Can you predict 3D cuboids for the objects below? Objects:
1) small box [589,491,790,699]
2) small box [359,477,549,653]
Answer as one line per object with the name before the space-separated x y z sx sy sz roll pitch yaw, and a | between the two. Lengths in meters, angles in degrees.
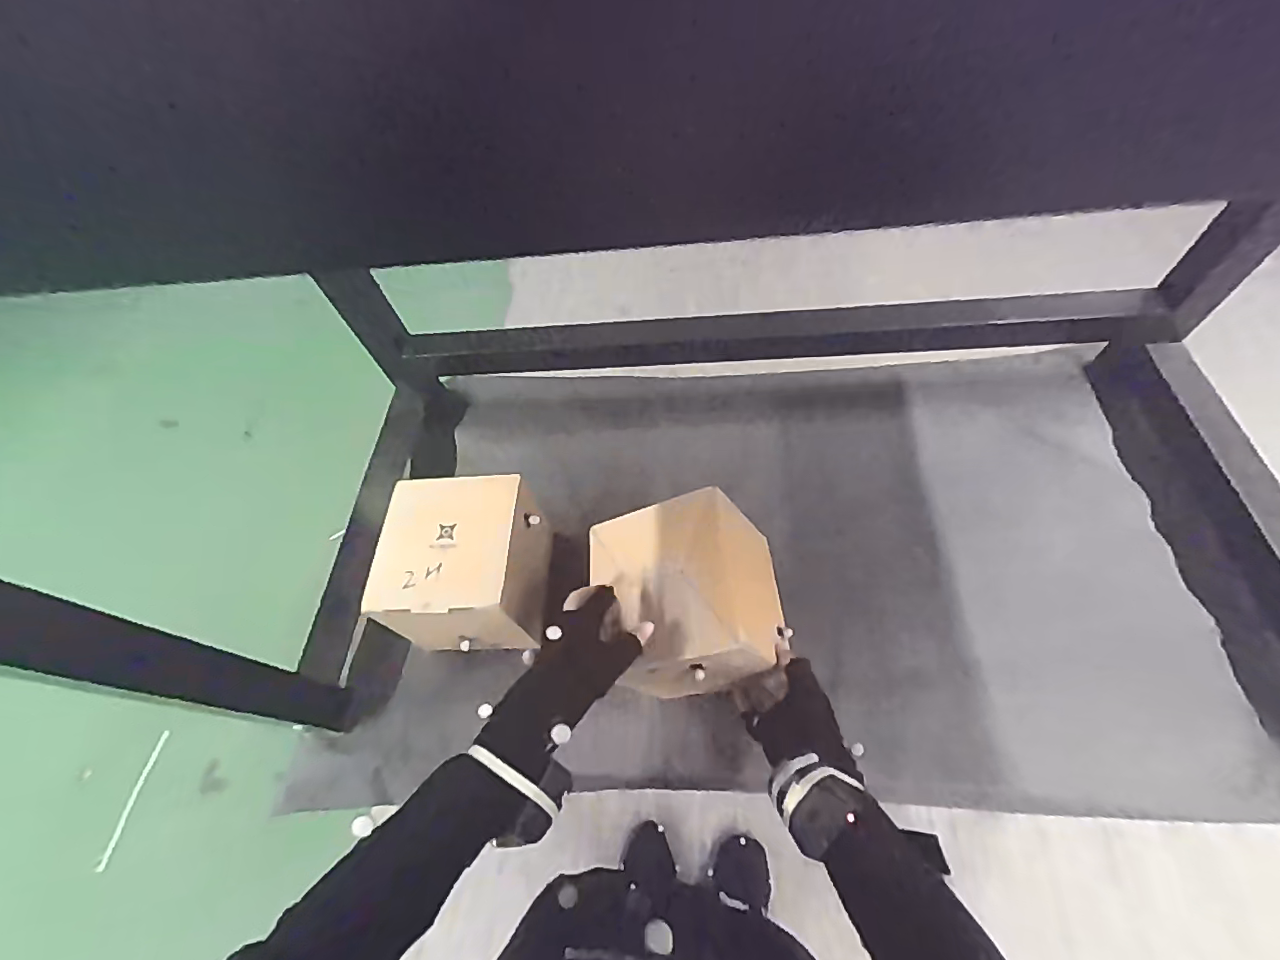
small box | 0.053 0.137 0.621 0.168 0.176 0.179 -21 53 24
small box | -0.223 0.114 0.706 0.168 0.176 0.179 -3 57 7
